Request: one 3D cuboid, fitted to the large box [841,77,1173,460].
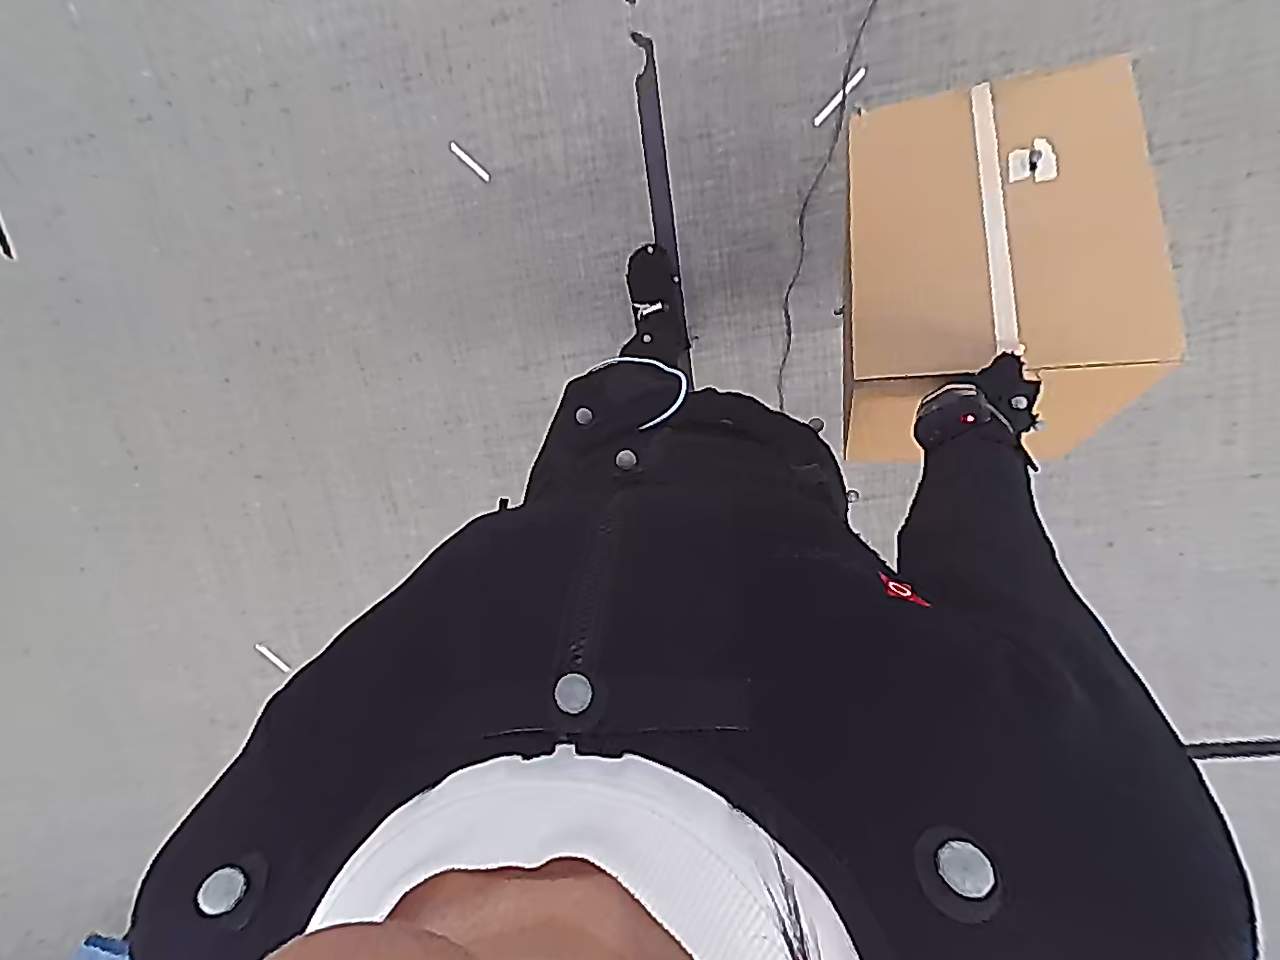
[{"bbox_3d":[0.471,-0.268,0.799,0.320,0.320,0.408,0,73,17],"label":"large box"}]
